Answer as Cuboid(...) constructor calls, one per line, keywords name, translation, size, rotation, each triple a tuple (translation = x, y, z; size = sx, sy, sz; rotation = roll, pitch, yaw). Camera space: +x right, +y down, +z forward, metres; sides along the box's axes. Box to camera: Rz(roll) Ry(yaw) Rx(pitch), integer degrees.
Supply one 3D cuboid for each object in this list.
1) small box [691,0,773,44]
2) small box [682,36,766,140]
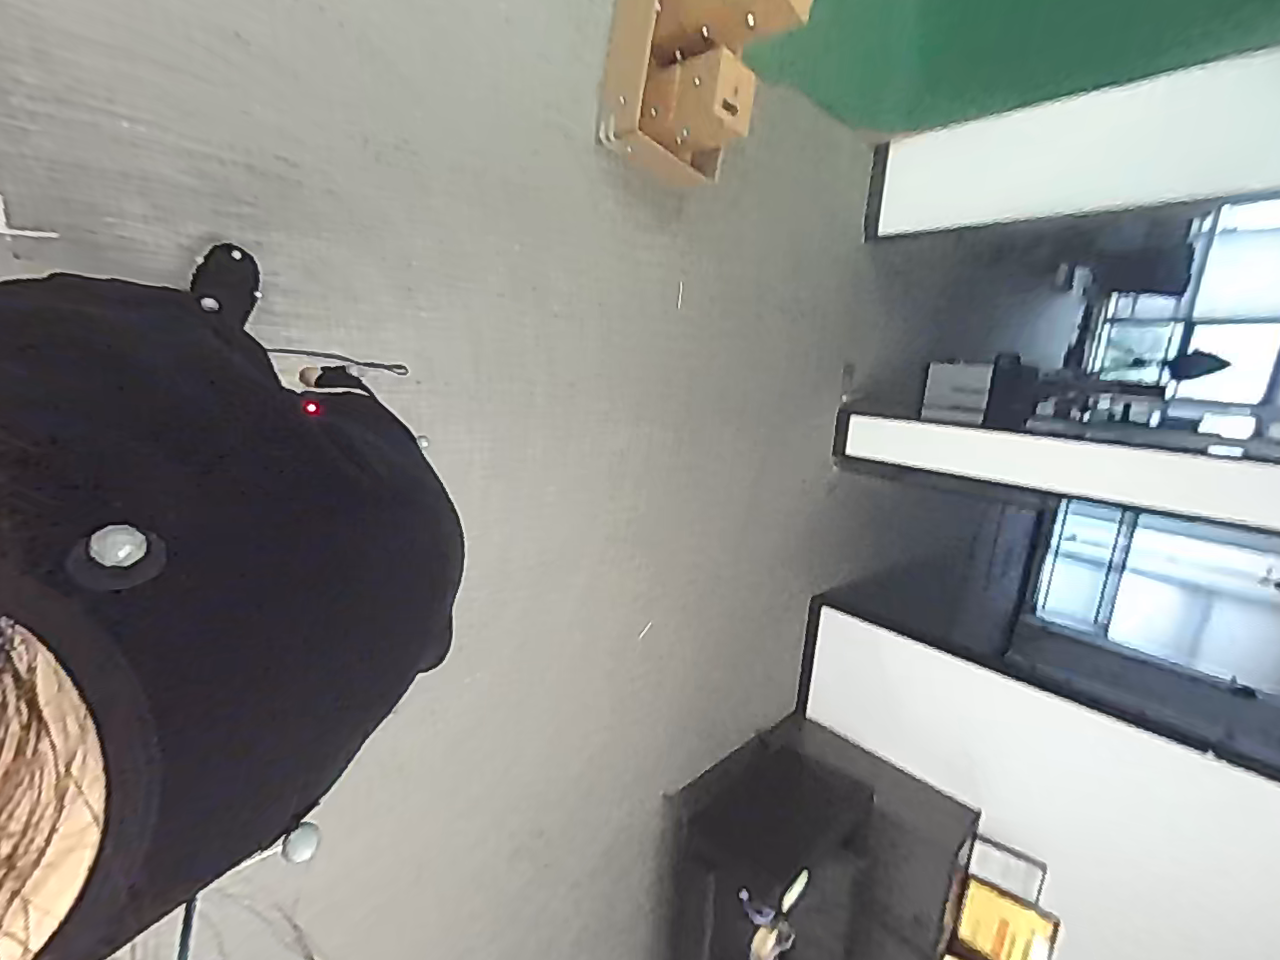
Cuboid(name="small box", translation=(0.272, -1.411, 1.554), size=(0.168, 0.176, 0.179), rotation=(17, 94, -45))
Cuboid(name="small box", translation=(0.245, -1.148, 1.604), size=(0.168, 0.176, 0.179), rotation=(1, 100, -43))
